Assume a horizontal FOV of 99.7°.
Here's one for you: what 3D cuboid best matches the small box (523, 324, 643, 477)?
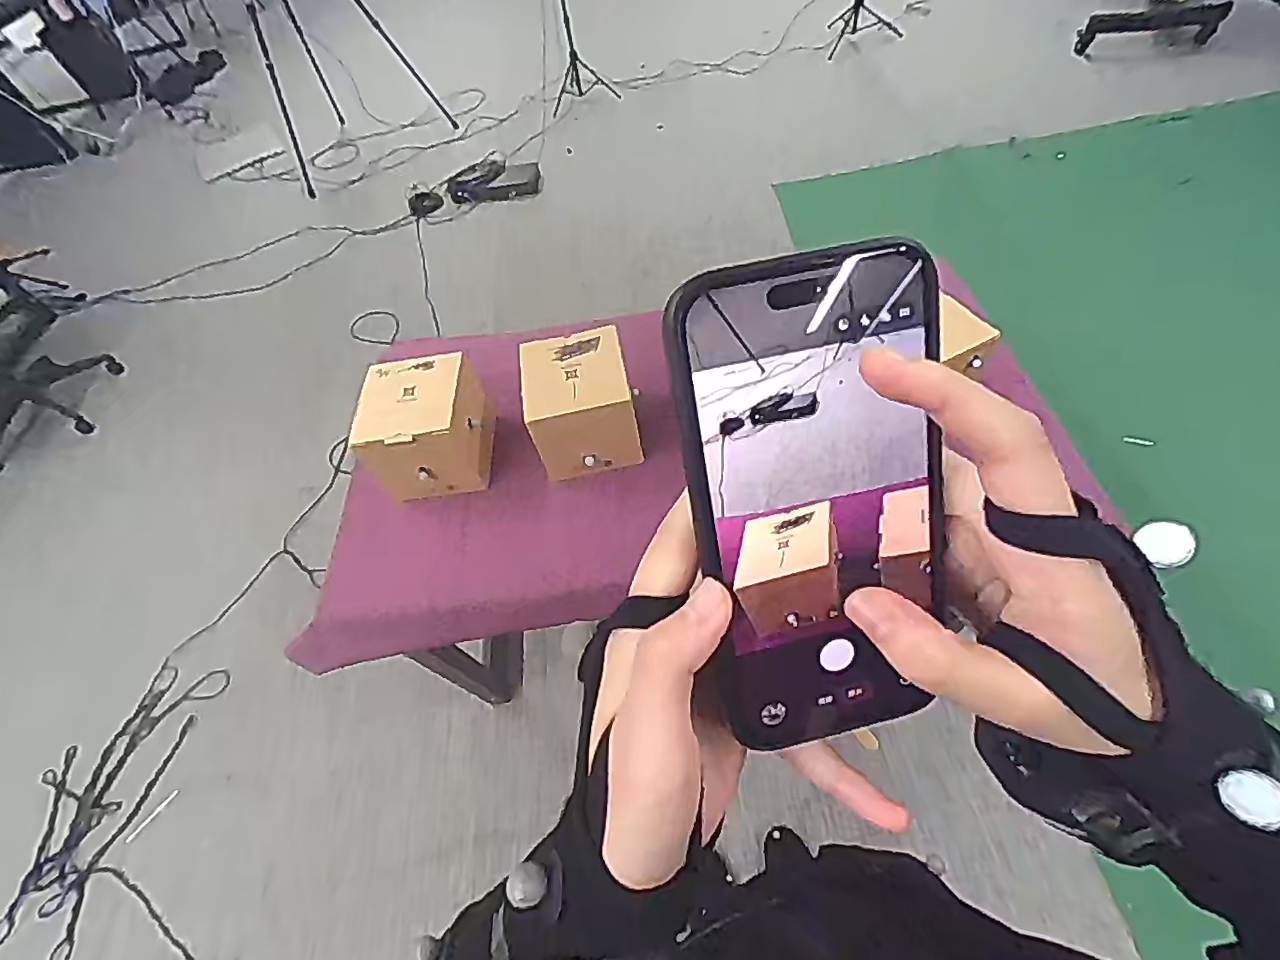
[{"bbox_3d":[-0.095,-0.132,0.921,0.168,0.176,0.179,-12,56,2],"label":"small box"}]

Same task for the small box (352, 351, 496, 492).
[{"bbox_3d":[-0.360,-0.092,0.938,0.168,0.176,0.179,-8,57,4],"label":"small box"}]

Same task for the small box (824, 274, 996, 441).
[{"bbox_3d":[0.418,-0.193,0.876,0.179,0.176,0.168,-26,56,-8],"label":"small box"}]

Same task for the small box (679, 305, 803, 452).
[{"bbox_3d":[0.162,-0.161,0.899,0.179,0.176,0.168,-6,57,5],"label":"small box"}]
